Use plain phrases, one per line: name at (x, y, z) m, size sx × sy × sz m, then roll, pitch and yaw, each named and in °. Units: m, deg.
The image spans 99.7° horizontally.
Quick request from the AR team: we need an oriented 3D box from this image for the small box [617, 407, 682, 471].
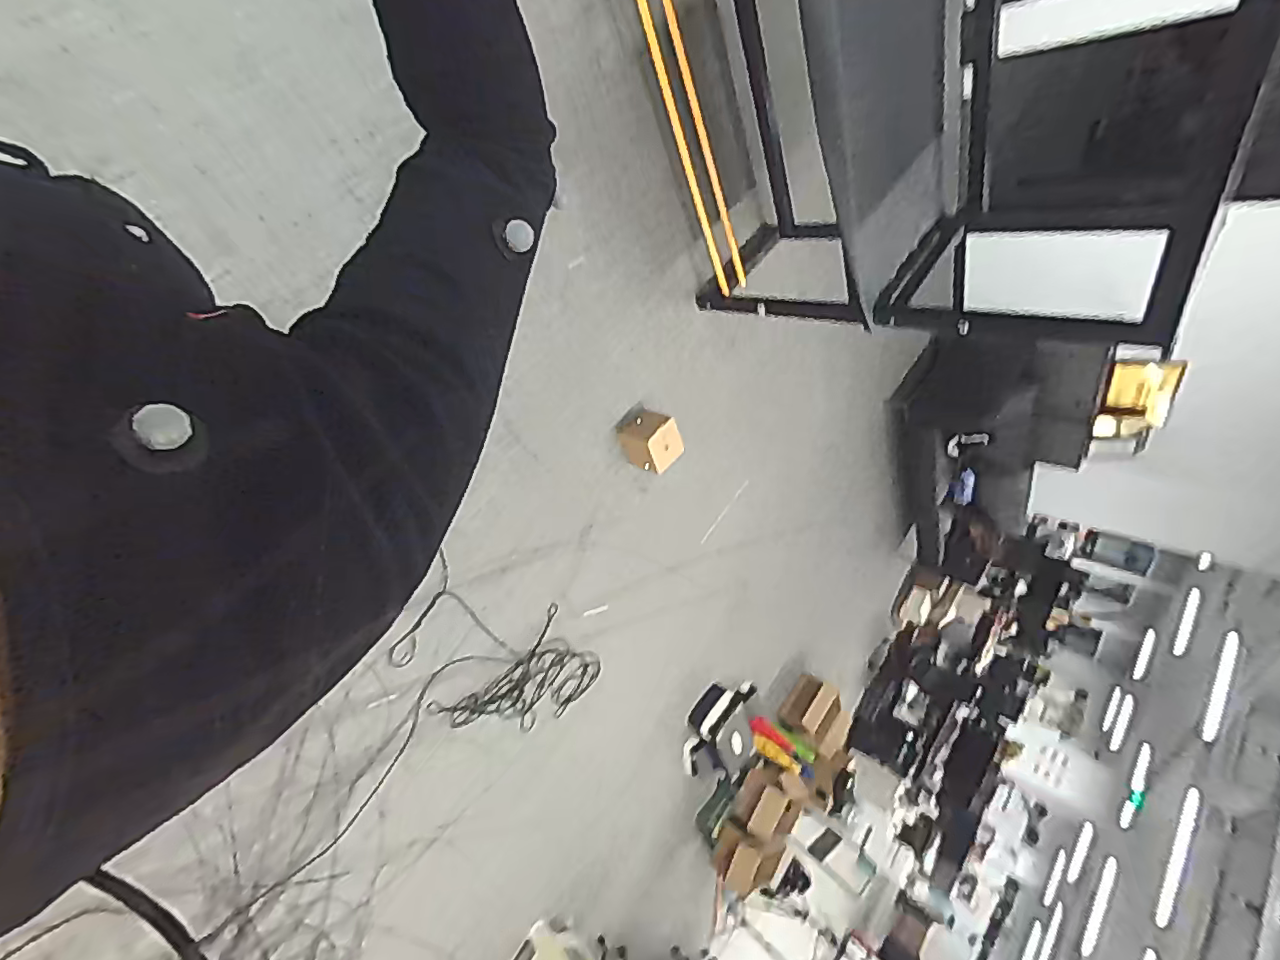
small box at (0.036, -0.168, 2.147) m, size 0.168 × 0.176 × 0.179 m, roll -45°, pitch 134°, yaw -25°
